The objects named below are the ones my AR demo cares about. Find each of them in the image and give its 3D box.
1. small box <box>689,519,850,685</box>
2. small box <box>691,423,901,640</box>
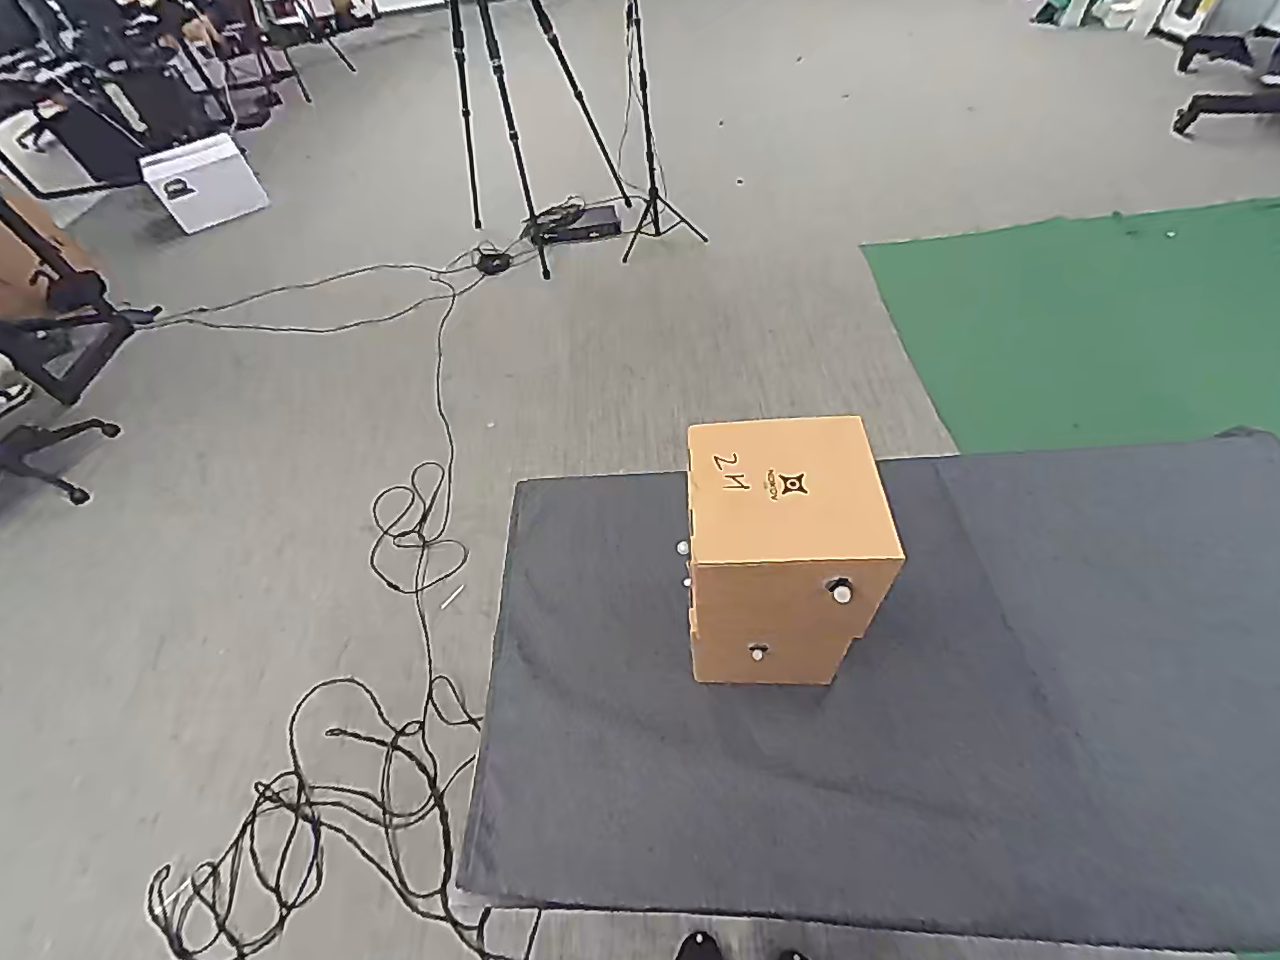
[{"bbox_3d":[0.155,0.158,0.704,0.179,0.176,0.168,-1,51,6],"label":"small box"},{"bbox_3d":[0.144,0.059,0.572,0.179,0.176,0.168,-2,50,6],"label":"small box"}]
